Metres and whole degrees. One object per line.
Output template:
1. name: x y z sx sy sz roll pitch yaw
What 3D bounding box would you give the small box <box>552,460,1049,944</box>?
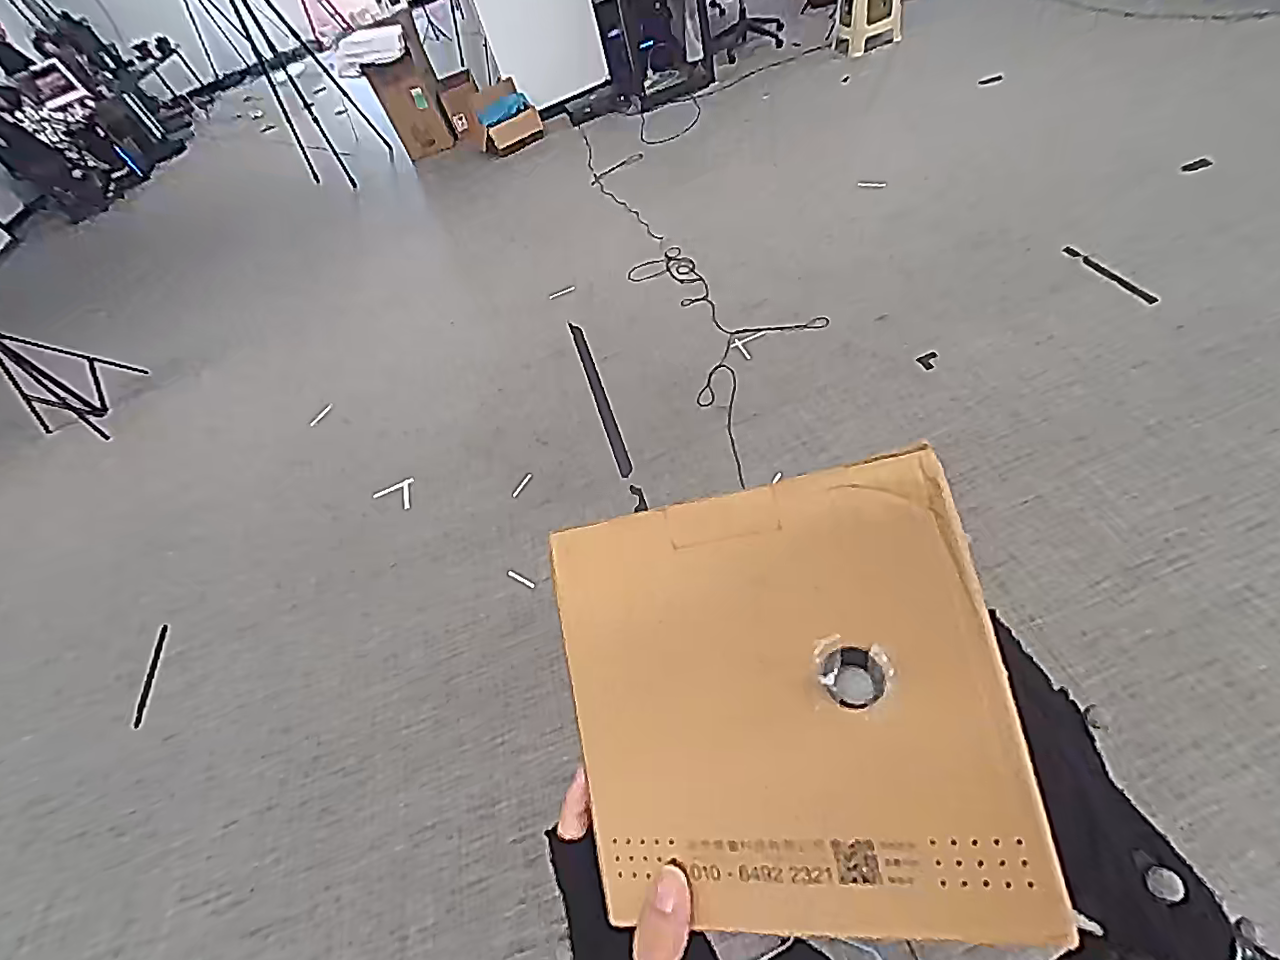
1. small box: 0.080 0.097 0.288 0.168 0.179 0.176 -14 81 22
